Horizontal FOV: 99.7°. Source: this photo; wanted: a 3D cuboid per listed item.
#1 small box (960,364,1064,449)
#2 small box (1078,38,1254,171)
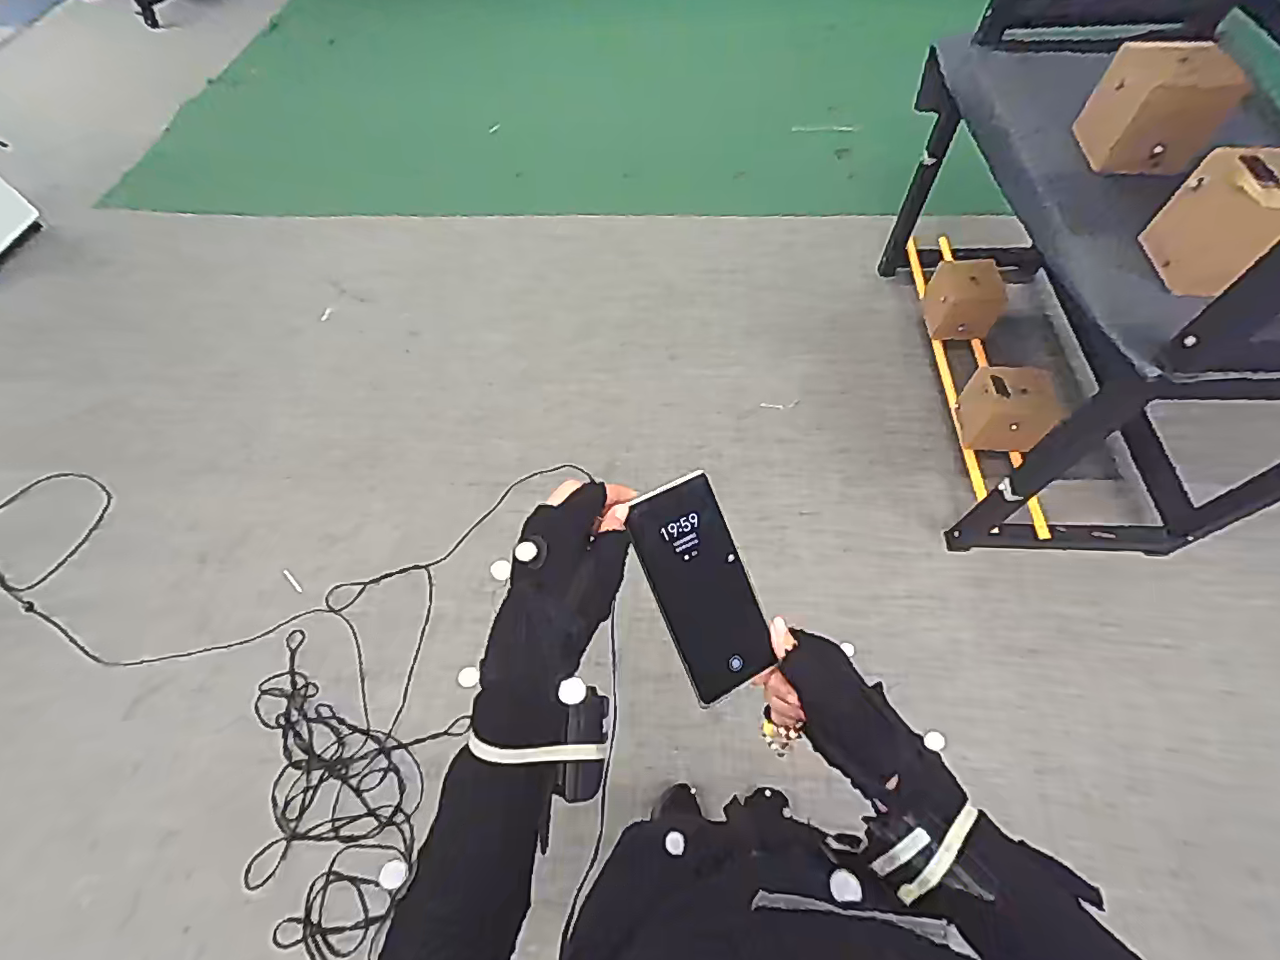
[{"bbox_3d":[1.011,-0.199,1.493,0.179,0.176,0.168,4,60,6],"label":"small box"},{"bbox_3d":[1.042,-0.758,1.094,0.168,0.176,0.179,4,60,6],"label":"small box"}]
